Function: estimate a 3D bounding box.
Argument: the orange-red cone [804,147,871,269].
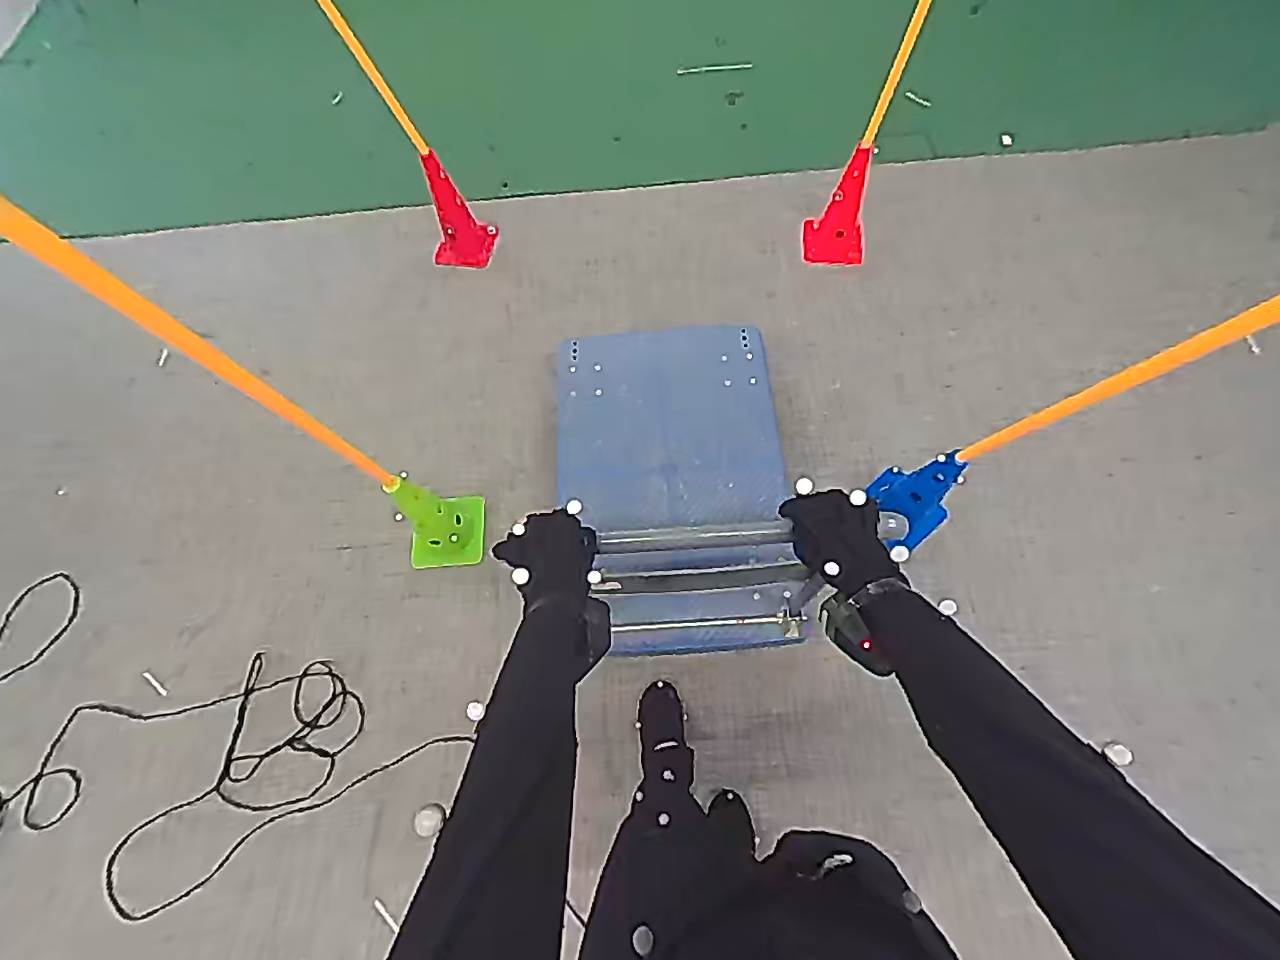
[{"bbox_3d":[0.655,-0.868,1.701,0.198,0.360,0.199,6,68,7],"label":"orange-red cone"}]
